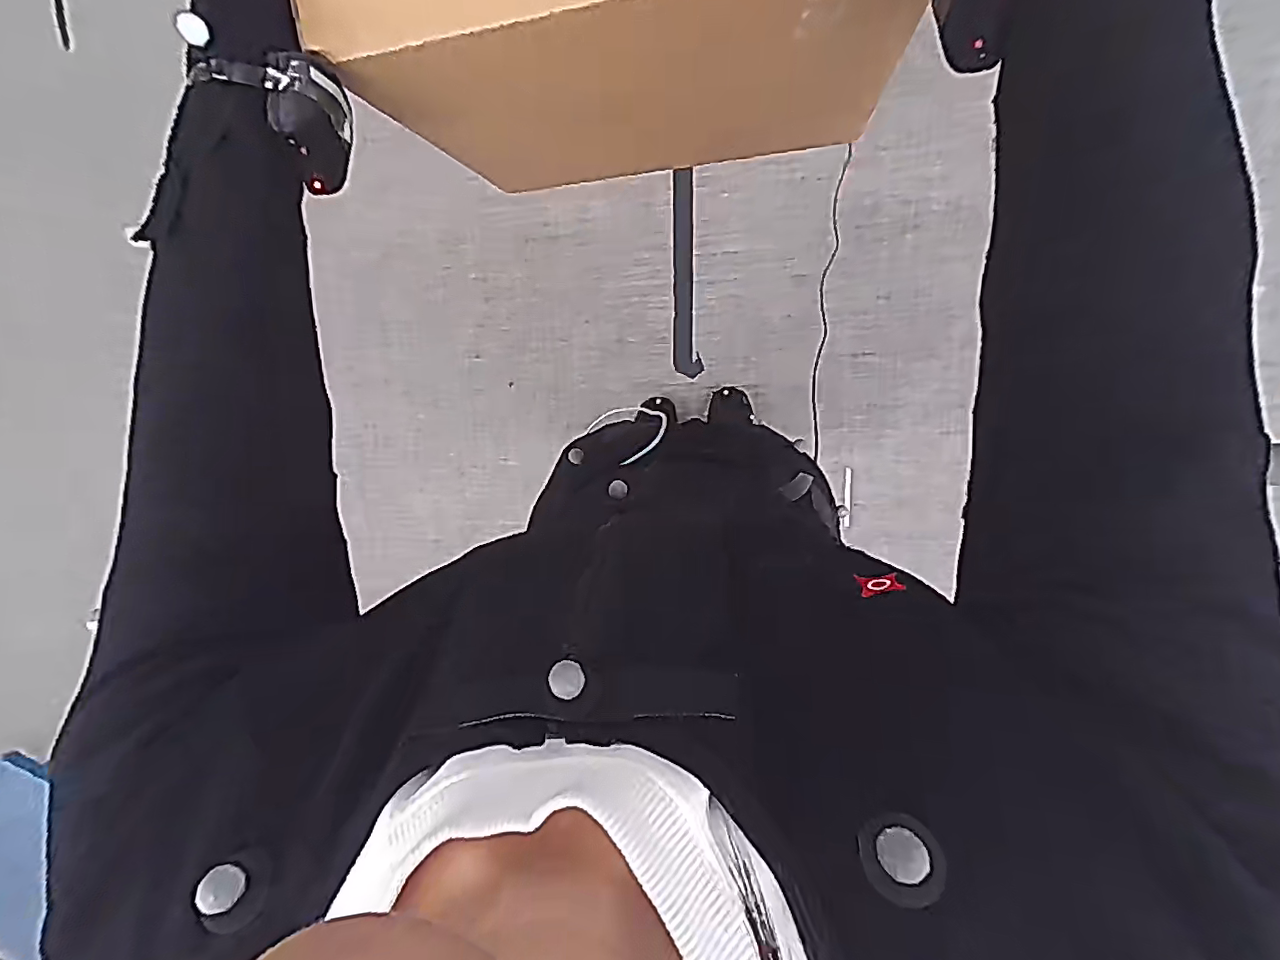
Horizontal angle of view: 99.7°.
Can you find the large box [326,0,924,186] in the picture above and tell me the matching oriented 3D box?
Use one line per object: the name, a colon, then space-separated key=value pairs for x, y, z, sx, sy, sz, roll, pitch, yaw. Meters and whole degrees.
large box: x=0.000 y=-0.476 z=0.439 sx=0.408 sy=0.320 sz=0.320 roll=-2 pitch=103 yaw=11
